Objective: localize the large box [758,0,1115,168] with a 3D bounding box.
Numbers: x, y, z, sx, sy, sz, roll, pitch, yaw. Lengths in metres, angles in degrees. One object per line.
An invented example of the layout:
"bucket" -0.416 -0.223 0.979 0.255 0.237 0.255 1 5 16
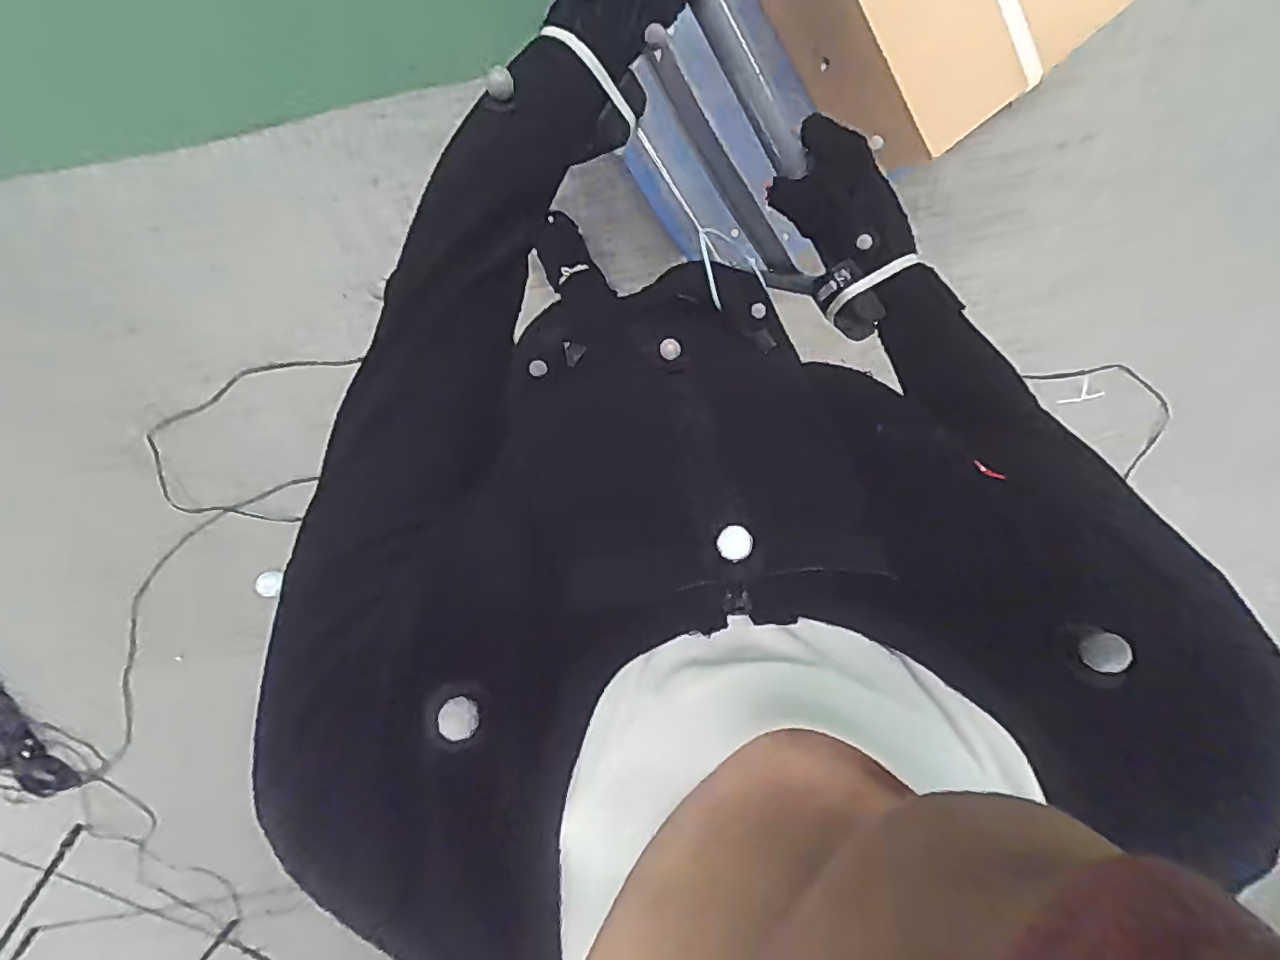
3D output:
"large box" 0.424 -0.781 0.846 0.320 0.320 0.408 -37 111 13
